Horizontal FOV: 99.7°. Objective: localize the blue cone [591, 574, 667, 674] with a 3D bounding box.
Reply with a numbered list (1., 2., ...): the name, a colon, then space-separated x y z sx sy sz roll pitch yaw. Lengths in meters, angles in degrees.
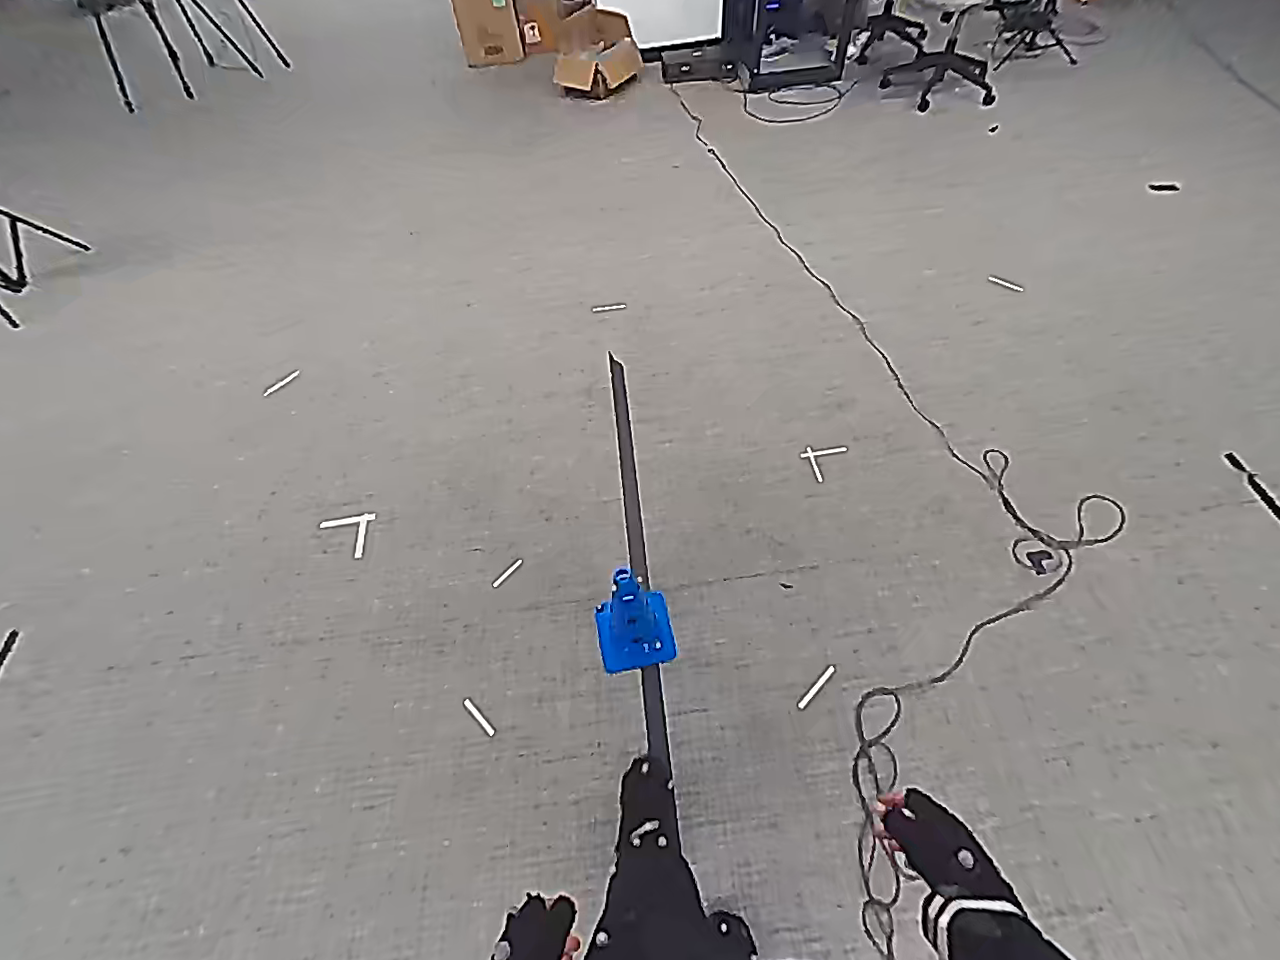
1. blue cone: -0.043 0.324 1.336 0.192 0.380 0.193 -11 54 -2
